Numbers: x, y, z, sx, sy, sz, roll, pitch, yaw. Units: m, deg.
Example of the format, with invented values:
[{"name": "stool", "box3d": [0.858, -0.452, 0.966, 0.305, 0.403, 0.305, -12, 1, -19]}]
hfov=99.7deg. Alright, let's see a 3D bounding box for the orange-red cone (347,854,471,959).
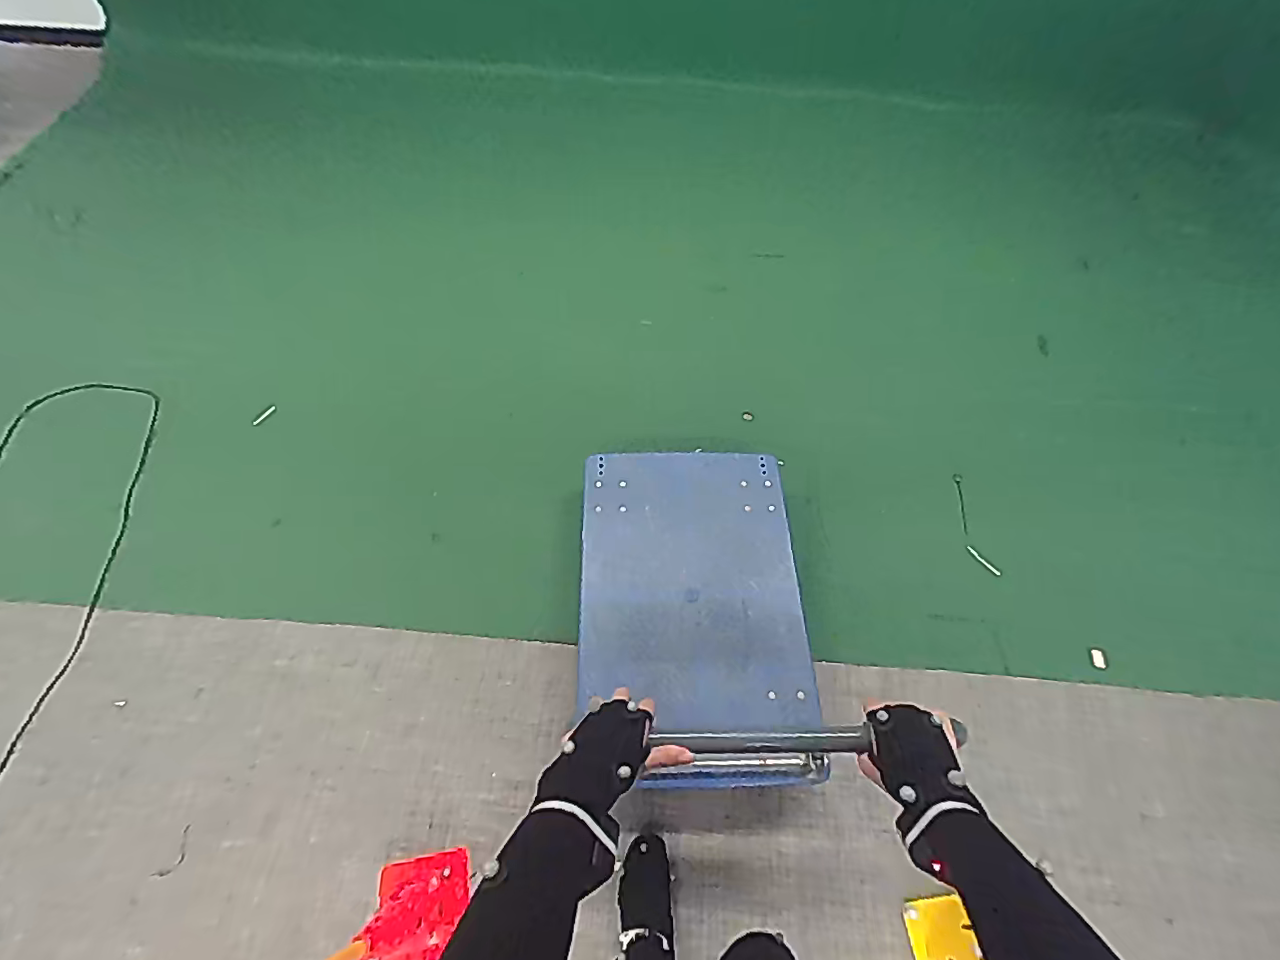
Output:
[{"name": "orange-red cone", "box3d": [-0.472, 0.871, 1.044, 0.199, 0.360, 0.198, -9, 60, -6]}]
